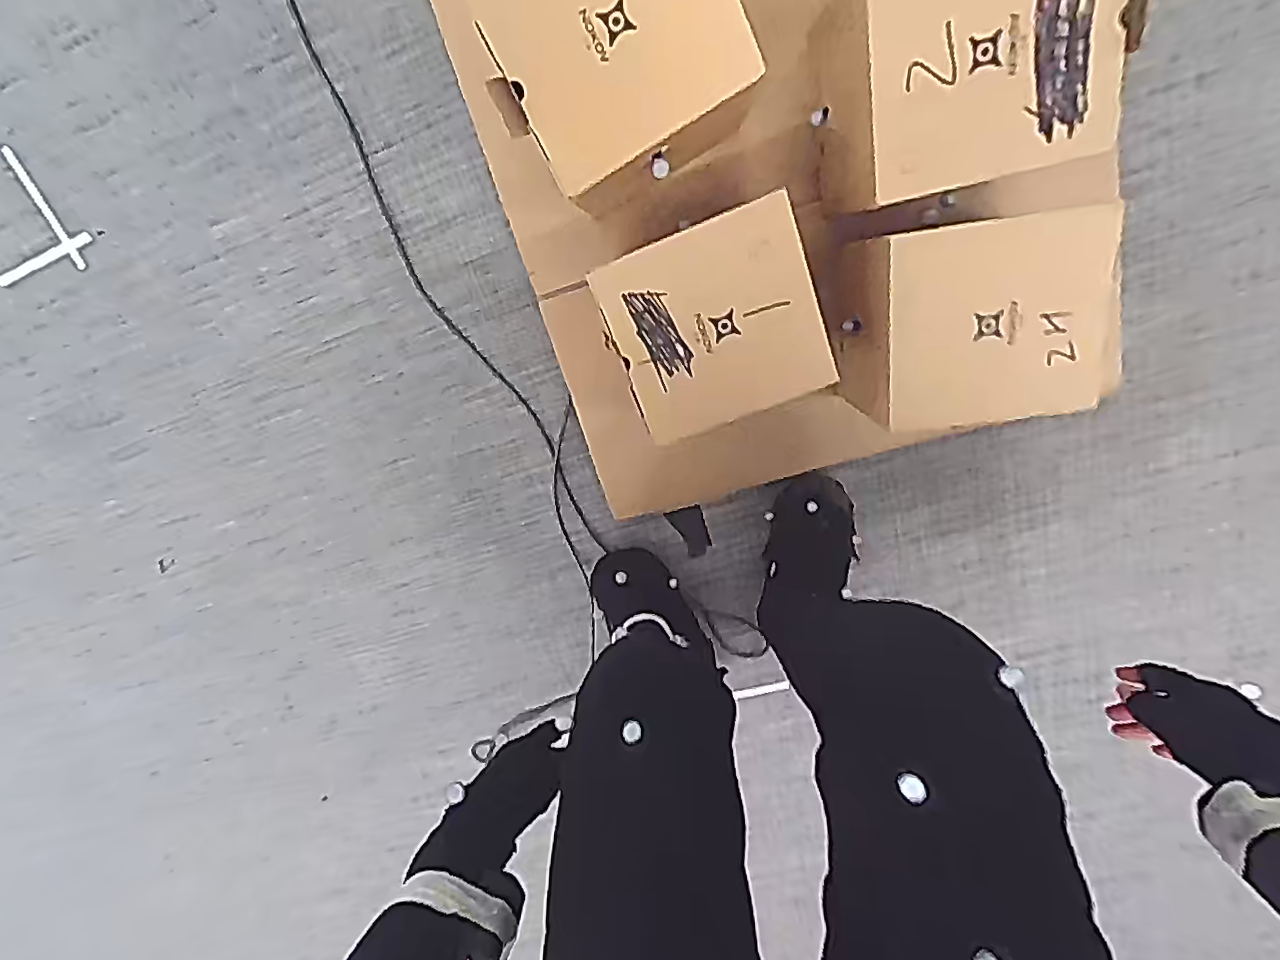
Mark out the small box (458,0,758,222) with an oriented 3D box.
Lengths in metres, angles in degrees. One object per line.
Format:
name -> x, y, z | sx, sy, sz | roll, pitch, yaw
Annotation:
small box -> -0.018, -0.354, 0.477 | 0.179, 0.176, 0.168 | -26, 106, 14
